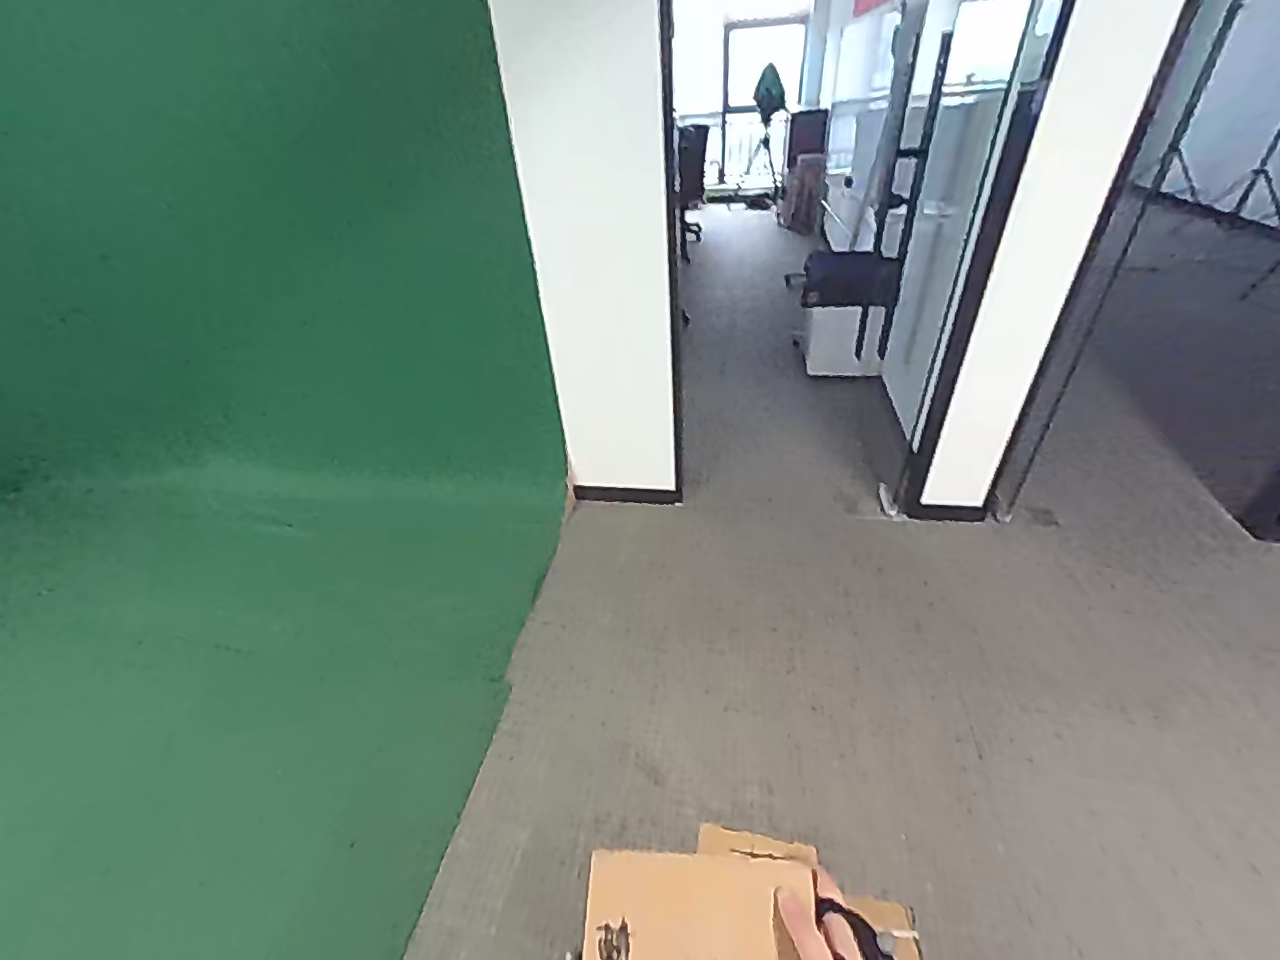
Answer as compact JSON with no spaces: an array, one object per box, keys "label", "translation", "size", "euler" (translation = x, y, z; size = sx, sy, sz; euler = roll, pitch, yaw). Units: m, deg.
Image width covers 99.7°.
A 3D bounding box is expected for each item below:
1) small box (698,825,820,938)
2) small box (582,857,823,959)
[{"label":"small box","translation":[0.155,0.628,0.752],"size":[0.168,0.176,0.179],"euler":[4,34,13]},{"label":"small box","translation":[0.039,0.416,0.420],"size":[0.179,0.176,0.168],"euler":[4,42,-1]}]
